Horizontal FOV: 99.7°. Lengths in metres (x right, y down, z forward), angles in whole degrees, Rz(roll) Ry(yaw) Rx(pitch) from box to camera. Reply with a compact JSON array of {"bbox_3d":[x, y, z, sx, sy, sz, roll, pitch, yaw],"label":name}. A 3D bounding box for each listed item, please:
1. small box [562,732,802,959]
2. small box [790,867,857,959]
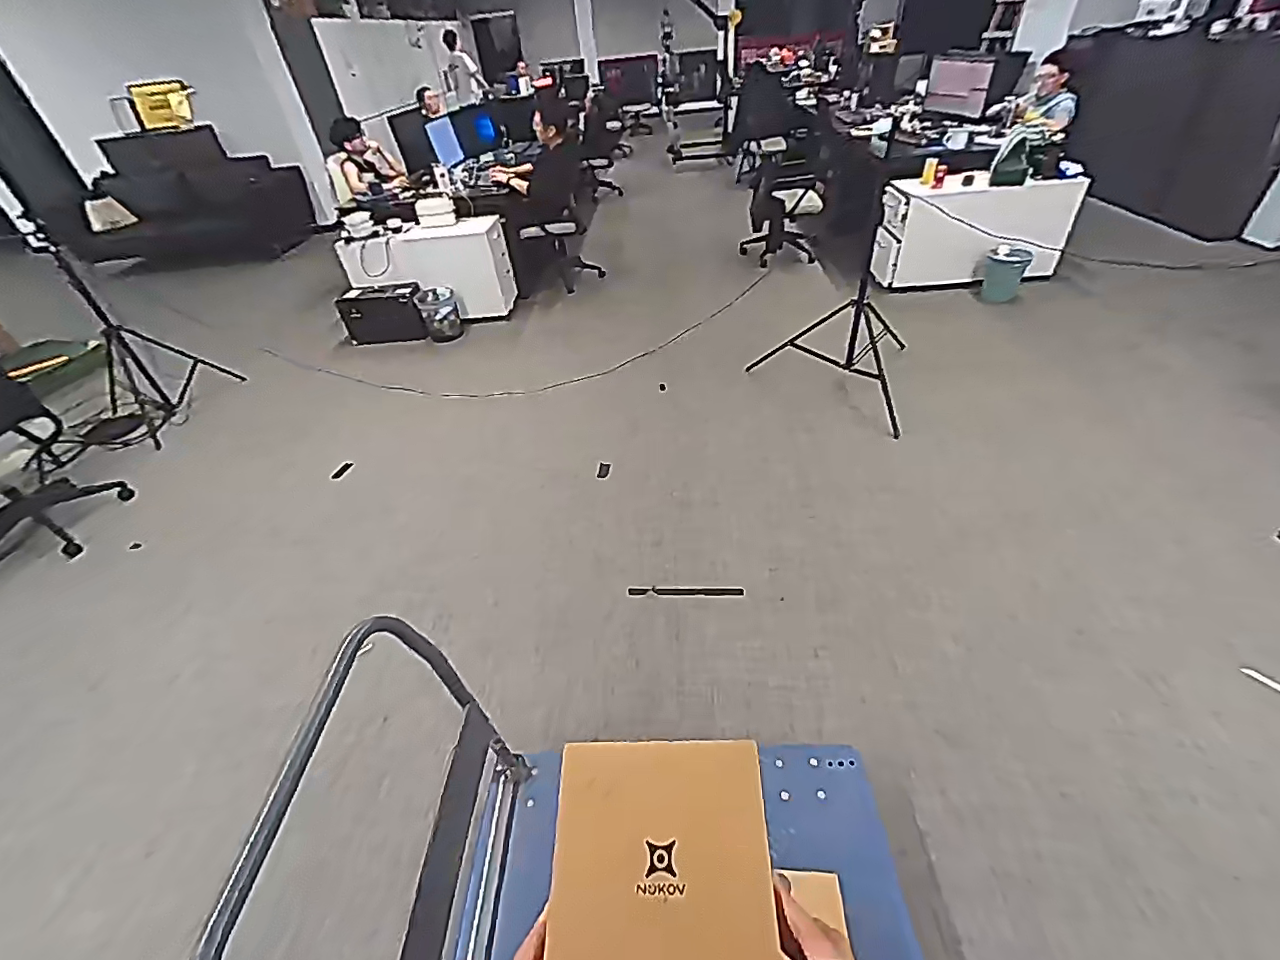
[{"bbox_3d":[0.033,0.333,0.462,0.168,0.176,0.179,-3,50,4],"label":"small box"},{"bbox_3d":[0.276,0.808,0.947,0.168,0.176,0.179,-2,40,7],"label":"small box"}]
